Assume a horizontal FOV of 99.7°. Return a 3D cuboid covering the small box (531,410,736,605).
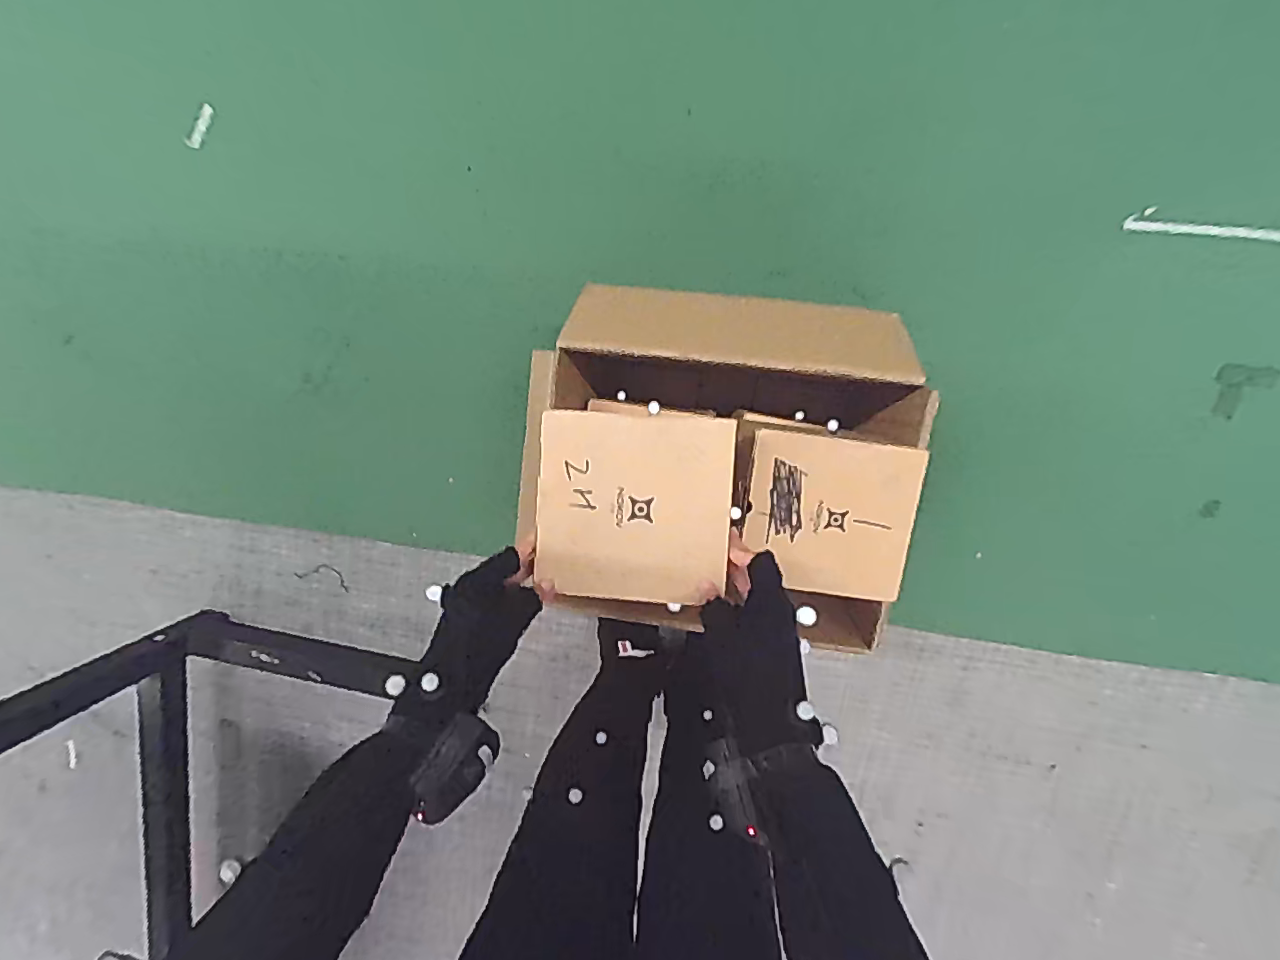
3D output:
[{"bbox_3d":[0.000,0.021,0.560,0.179,0.176,0.168,4,92,6],"label":"small box"}]
